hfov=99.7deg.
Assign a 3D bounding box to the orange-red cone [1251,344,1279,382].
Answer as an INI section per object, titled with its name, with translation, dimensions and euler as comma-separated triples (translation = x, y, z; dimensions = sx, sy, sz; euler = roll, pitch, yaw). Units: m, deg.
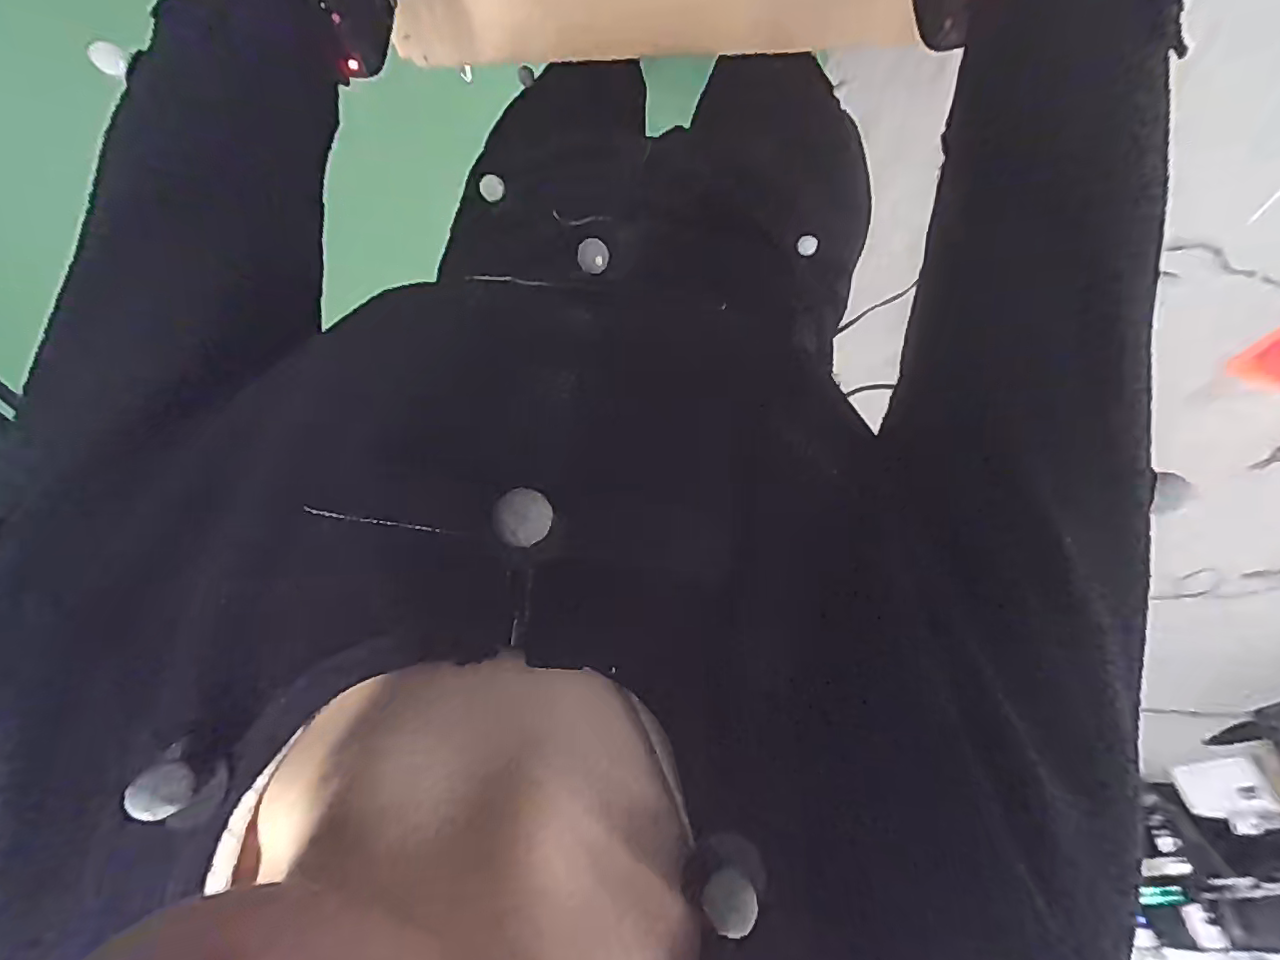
[orange-red cone]
translation = 1.692, -0.197, 1.249
dimensions = 0.198, 0.360, 0.199
euler = 16, 139, -14
